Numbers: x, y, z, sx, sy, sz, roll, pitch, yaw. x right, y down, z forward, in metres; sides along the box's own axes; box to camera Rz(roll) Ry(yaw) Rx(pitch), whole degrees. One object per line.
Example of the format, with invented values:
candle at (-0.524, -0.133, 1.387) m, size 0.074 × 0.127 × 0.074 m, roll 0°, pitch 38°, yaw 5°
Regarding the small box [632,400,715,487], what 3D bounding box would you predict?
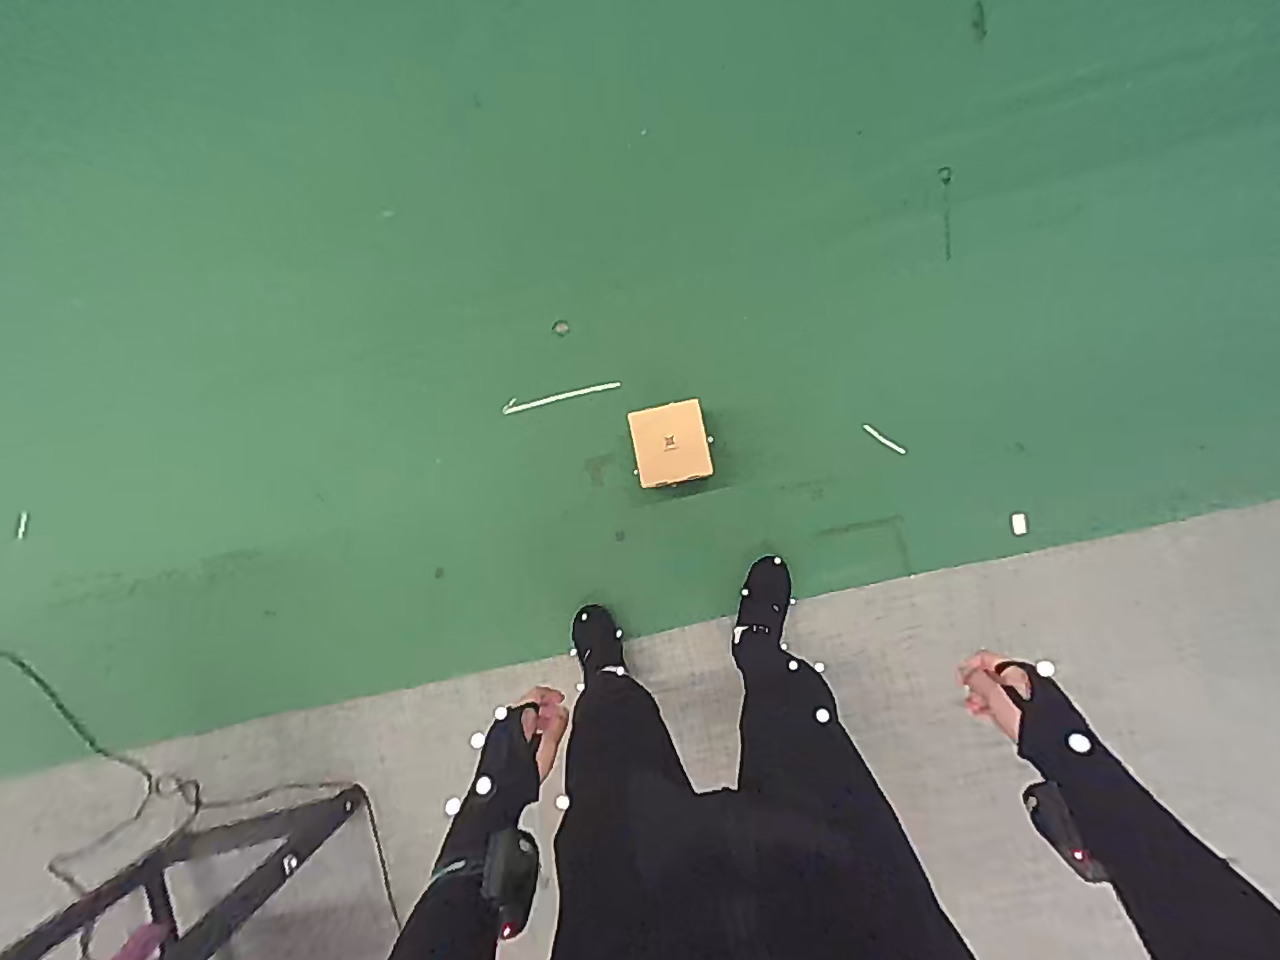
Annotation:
small box at (0.080, -0.081, 1.300) m, size 0.168 × 0.176 × 0.179 m, roll -12°, pitch 89°, yaw 5°
